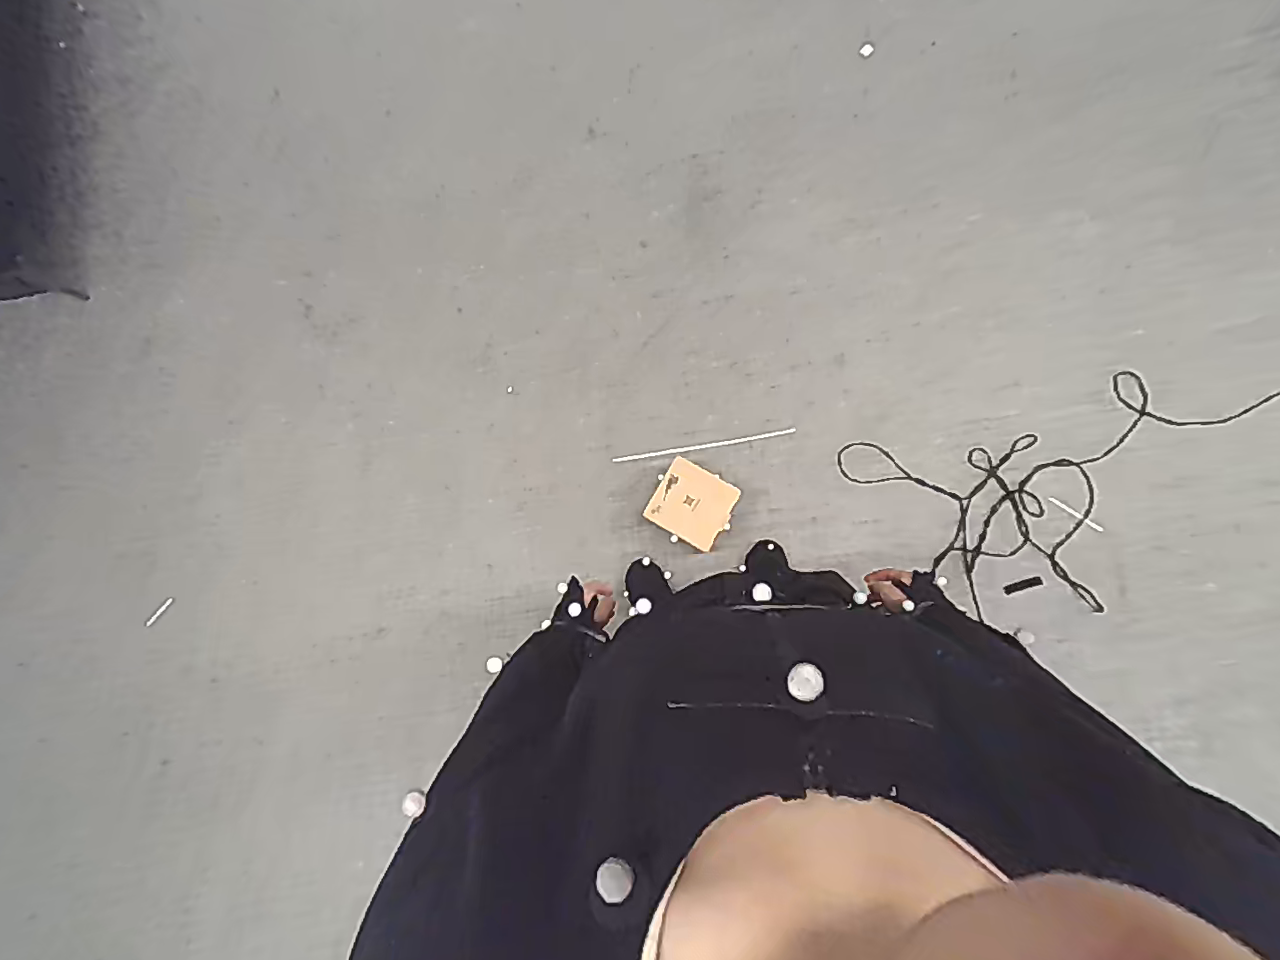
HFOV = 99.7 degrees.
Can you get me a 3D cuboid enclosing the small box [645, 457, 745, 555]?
[{"bbox_3d":[0.132,0.065,1.303,0.179,0.176,0.168,30,86,9],"label":"small box"}]
